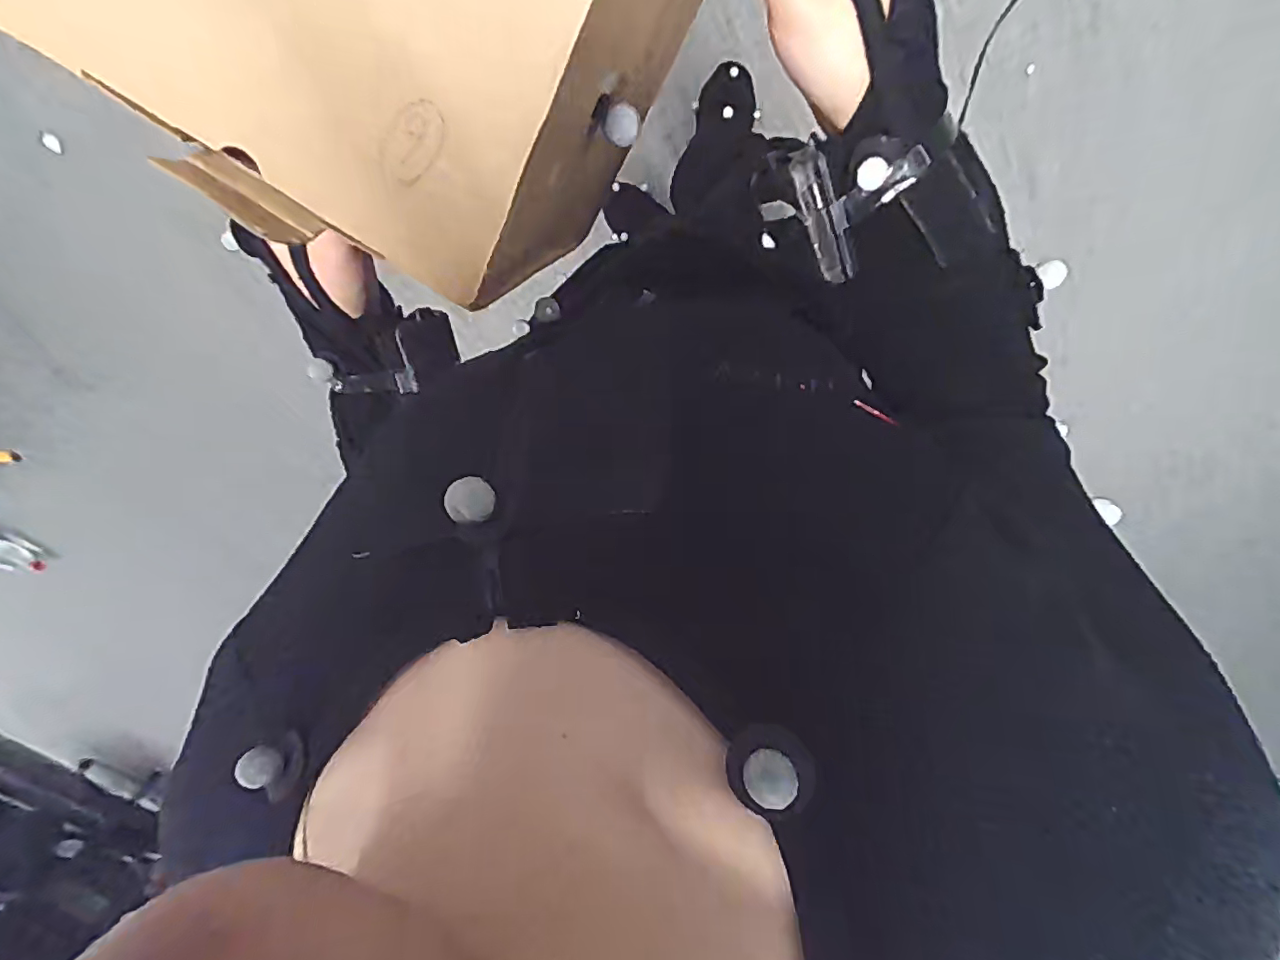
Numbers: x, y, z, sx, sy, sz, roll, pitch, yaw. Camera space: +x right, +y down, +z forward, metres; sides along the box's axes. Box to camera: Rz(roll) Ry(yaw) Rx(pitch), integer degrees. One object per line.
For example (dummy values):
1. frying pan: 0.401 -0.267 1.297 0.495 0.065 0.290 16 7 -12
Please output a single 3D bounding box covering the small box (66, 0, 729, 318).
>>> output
1. small box: -0.063 -0.200 0.215 0.168 0.176 0.179 30 121 -9
